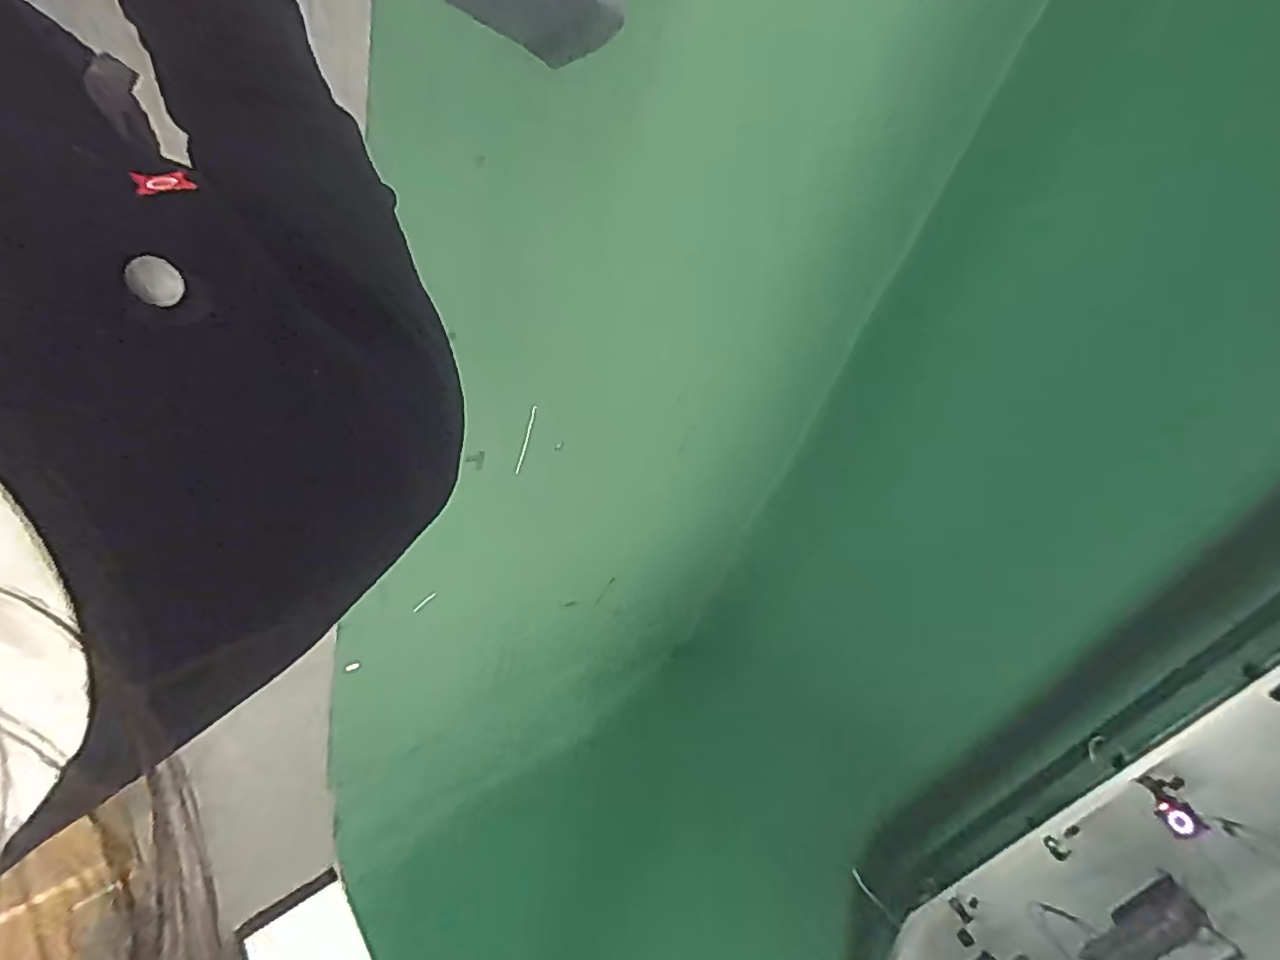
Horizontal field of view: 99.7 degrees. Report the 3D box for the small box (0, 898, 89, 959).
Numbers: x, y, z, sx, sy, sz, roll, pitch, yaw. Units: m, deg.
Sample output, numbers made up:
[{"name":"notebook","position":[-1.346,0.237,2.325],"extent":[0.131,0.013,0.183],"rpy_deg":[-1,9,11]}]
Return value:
[{"name":"small box","position":[-1.605,1.264,1.427],"extent":[0.179,0.176,0.168],"rpy_deg":[-18,137,-40]}]
